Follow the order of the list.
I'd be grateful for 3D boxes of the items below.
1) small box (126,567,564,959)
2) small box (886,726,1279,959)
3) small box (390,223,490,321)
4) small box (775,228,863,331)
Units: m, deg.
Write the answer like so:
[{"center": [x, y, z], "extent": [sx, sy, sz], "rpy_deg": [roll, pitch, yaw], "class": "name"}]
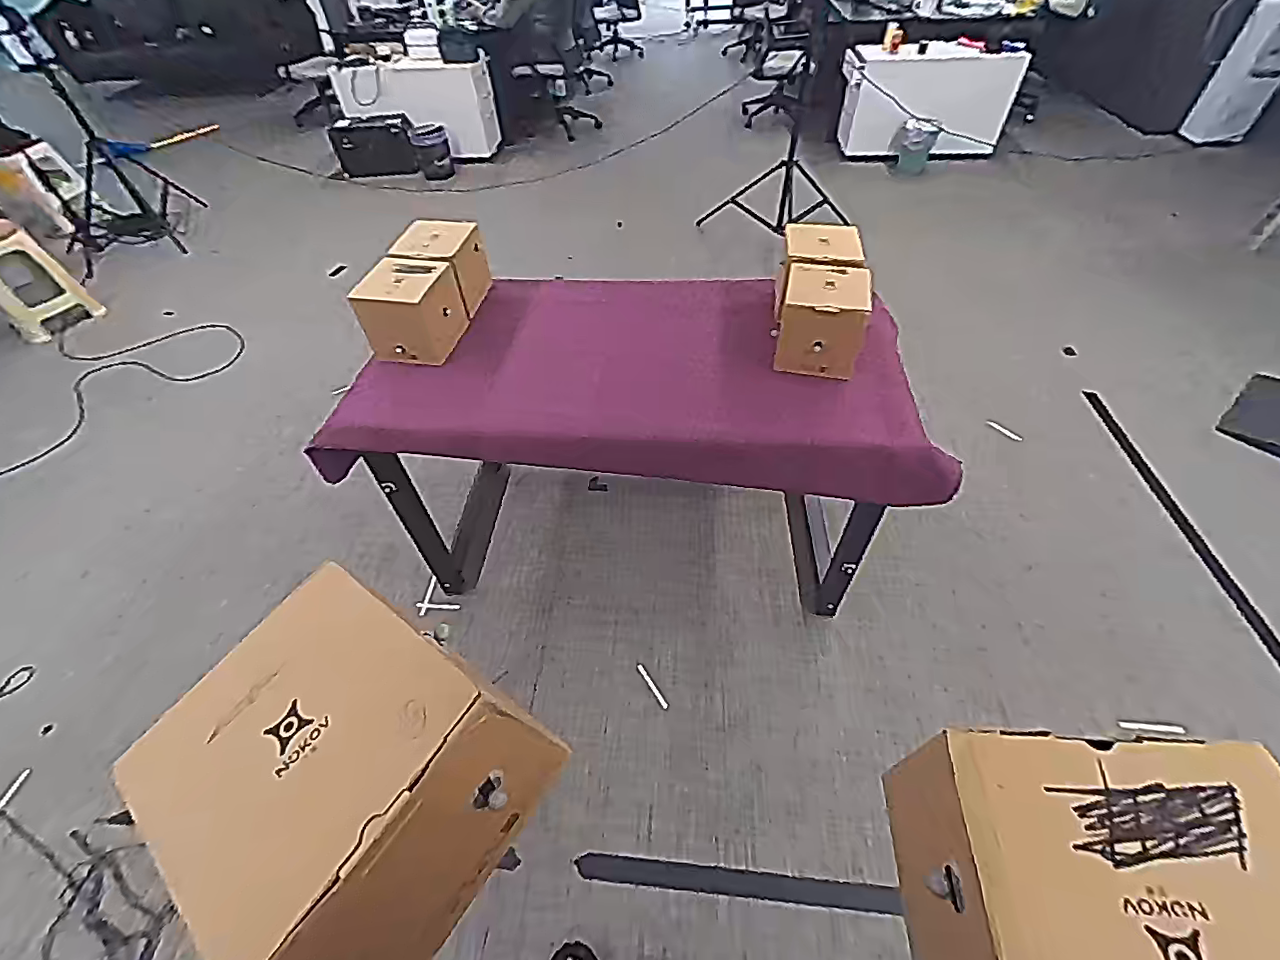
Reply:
[{"center": [-0.181, 0.197, 0.379], "extent": [0.179, 0.176, 0.168], "rpy_deg": [24, 62, 30], "class": "small box"}, {"center": [0.263, 0.263, 0.323], "extent": [0.168, 0.176, 0.179], "rpy_deg": [-2, 54, 9], "class": "small box"}, {"center": [-0.494, -0.528, 1.372], "extent": [0.168, 0.176, 0.179], "rpy_deg": [6, 50, 7], "class": "small box"}, {"center": [0.420, -0.483, 1.300], "extent": [0.168, 0.176, 0.179], "rpy_deg": [6, 49, 7], "class": "small box"}]
